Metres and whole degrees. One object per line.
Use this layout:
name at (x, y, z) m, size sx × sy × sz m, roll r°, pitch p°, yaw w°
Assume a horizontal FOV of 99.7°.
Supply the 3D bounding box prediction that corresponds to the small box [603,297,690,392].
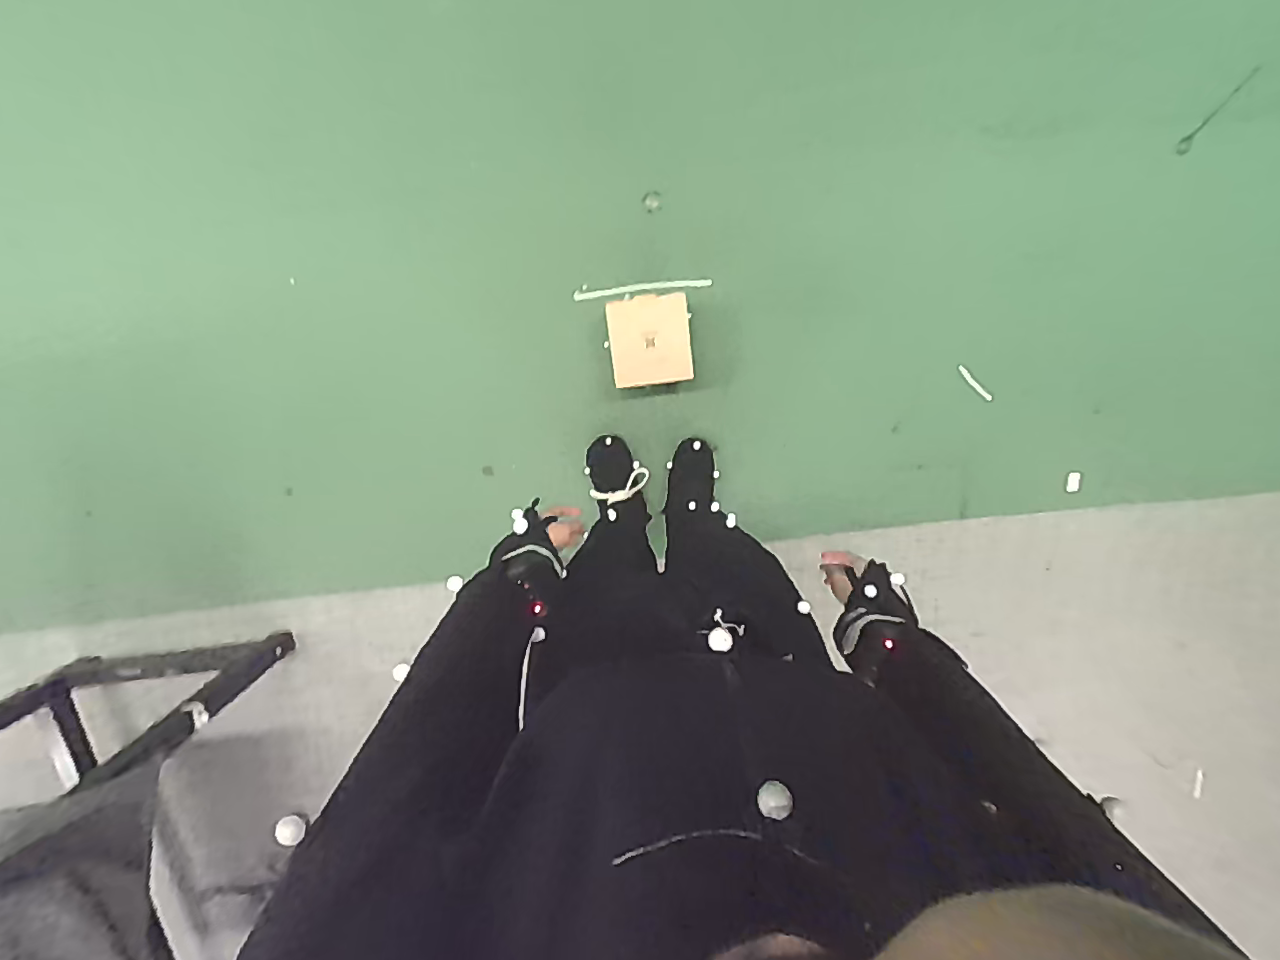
small box at (0.012, -0.292, 1.183) m, size 0.168 × 0.176 × 0.179 m, roll -8°, pitch 103°, yaw 1°
